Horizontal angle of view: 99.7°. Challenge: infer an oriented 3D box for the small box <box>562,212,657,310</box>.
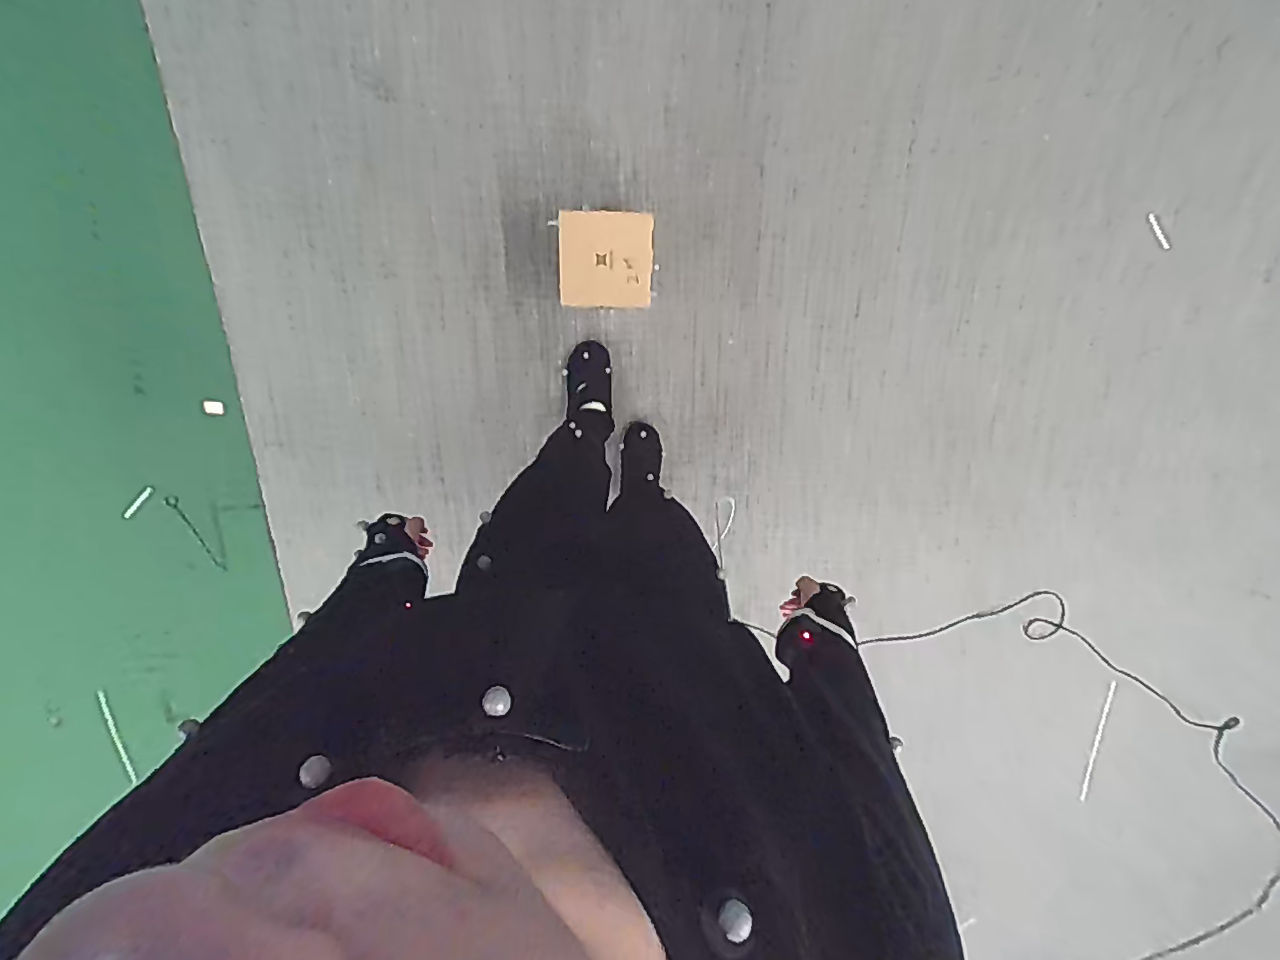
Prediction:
[{"bbox_3d":[-0.057,-0.431,1.083,0.179,0.176,0.168,2,109,0],"label":"small box"}]
